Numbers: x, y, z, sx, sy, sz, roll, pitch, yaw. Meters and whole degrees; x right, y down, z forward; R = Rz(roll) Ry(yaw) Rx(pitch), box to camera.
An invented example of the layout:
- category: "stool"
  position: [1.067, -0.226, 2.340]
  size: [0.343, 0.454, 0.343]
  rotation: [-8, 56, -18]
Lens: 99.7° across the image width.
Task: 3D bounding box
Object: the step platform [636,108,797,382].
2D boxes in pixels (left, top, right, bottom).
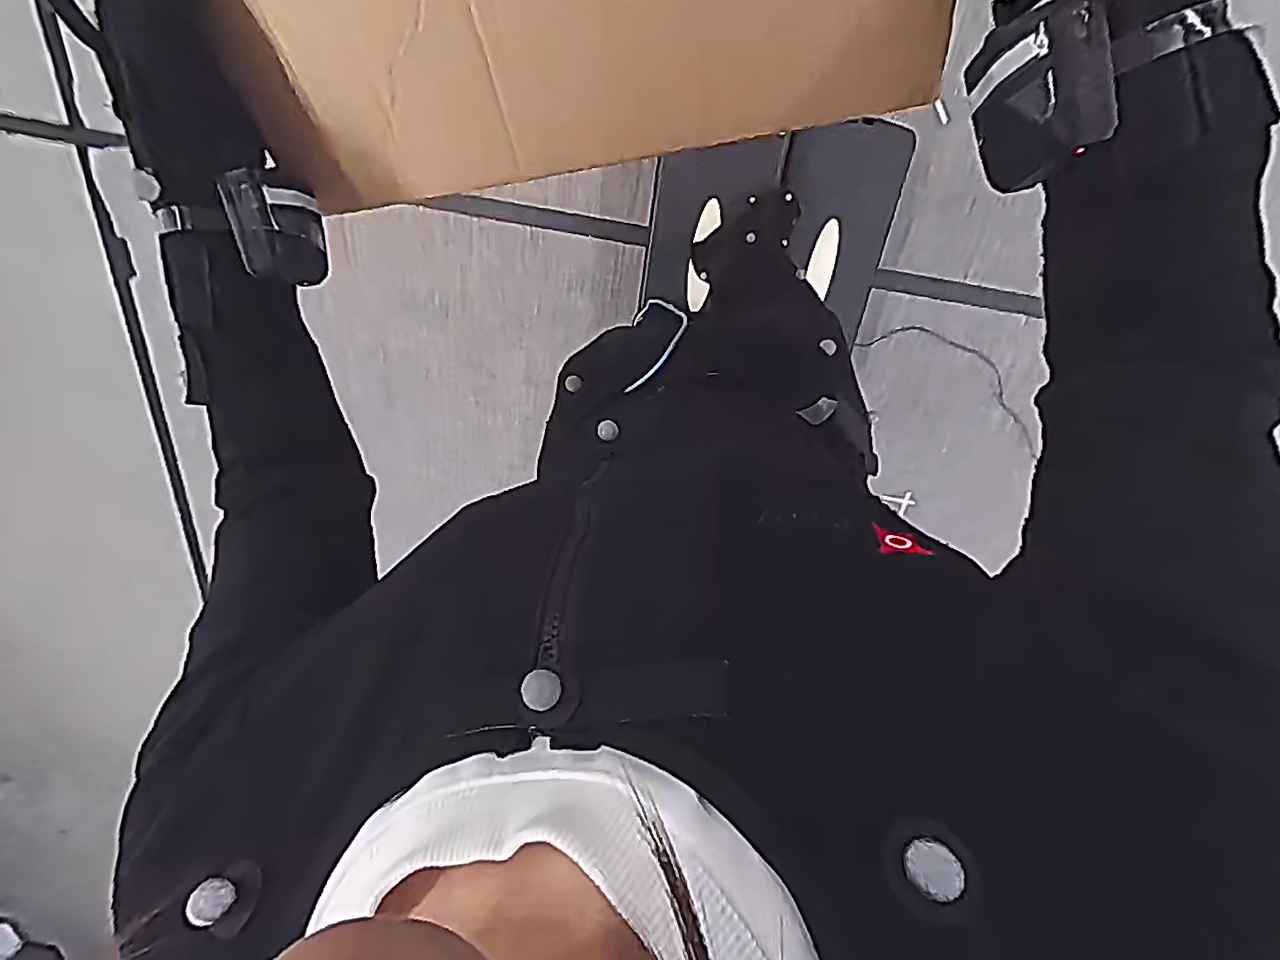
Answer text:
- category: "step platform"
  position: [0.169, -0.587, 1.324]
  size: [0.286, 0.204, 0.684]
  rotation: [9, 115, 3]

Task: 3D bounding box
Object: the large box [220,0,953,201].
- category: "large box"
  position: [-0.040, -0.422, 0.345]
  size: [0.408, 0.320, 0.320]
  rotation: [-3, 135, 13]
